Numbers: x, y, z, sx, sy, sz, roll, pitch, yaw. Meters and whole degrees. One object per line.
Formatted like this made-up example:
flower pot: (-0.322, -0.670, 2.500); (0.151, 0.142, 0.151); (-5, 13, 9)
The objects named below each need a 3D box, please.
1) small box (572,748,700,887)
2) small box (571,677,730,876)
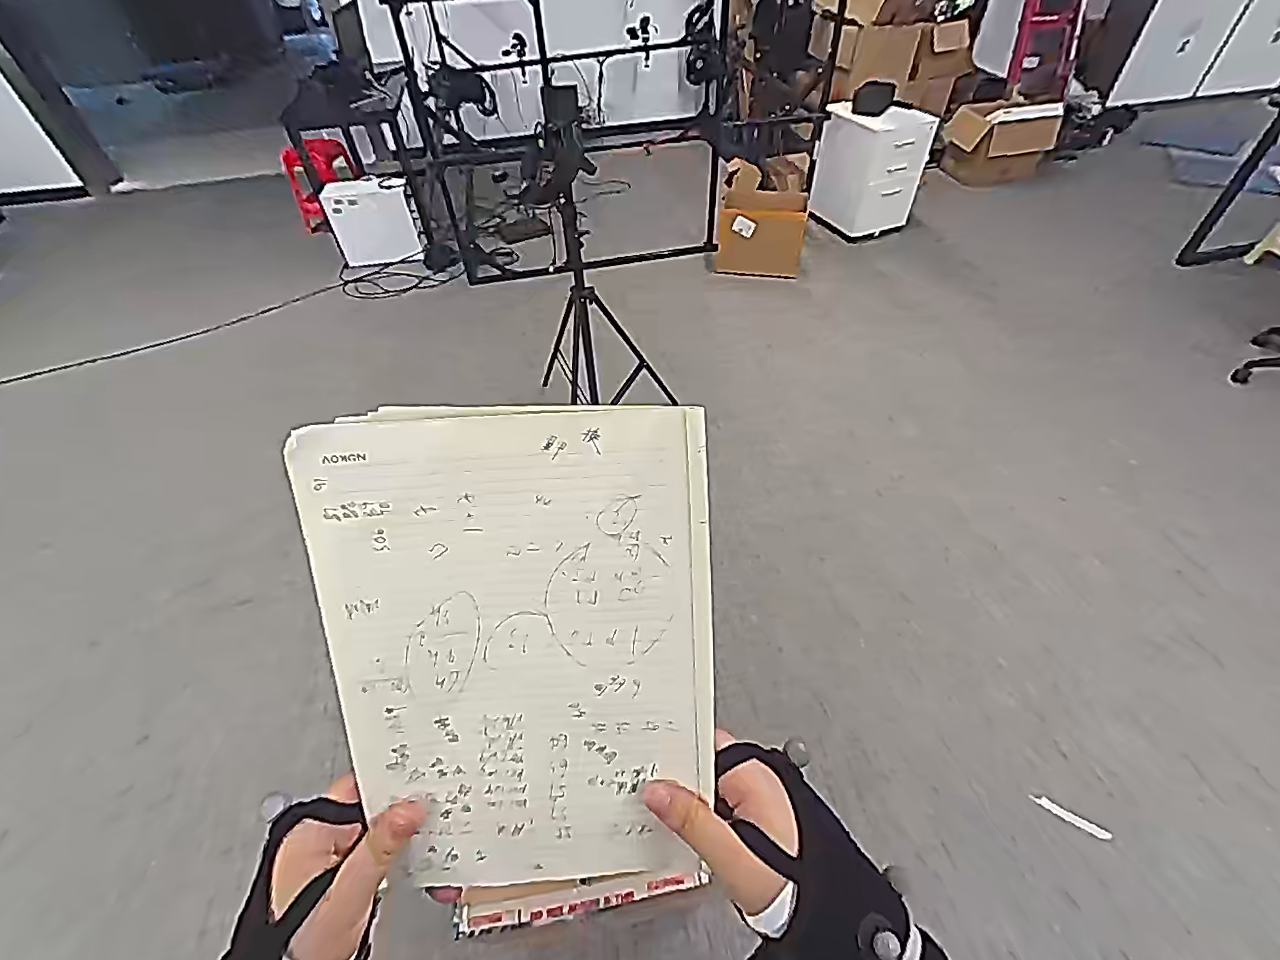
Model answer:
small box: (0.000, 0.491, 0.820); (0.179, 0.176, 0.168); (-11, 49, -9)
small box: (0.004, 0.381, 0.697); (0.168, 0.176, 0.179); (-8, 50, -7)
